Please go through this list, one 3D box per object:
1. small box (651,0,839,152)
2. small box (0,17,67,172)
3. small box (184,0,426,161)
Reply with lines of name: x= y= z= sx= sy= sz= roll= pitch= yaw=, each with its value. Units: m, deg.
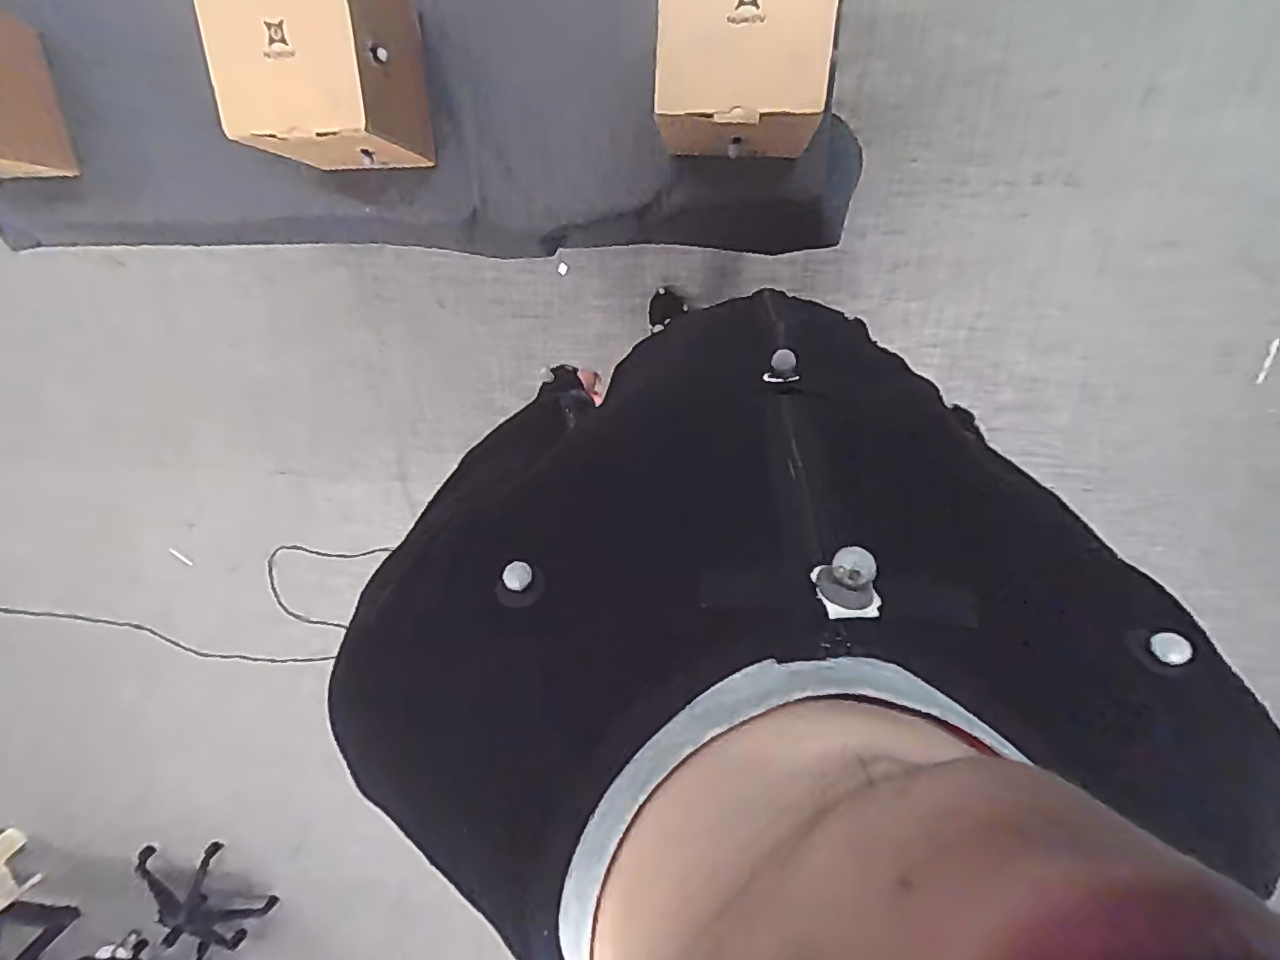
small box: x=0.108 y=-0.455 z=0.559 sx=0.168 sy=0.176 sz=0.179 roll=6 pitch=110 yaw=7
small box: x=-0.882 y=-0.492 z=0.659 sx=0.168 sy=0.176 sz=0.179 roll=2 pitch=110 yaw=5
small box: x=-0.362 y=-0.474 z=0.612 sx=0.168 sy=0.176 sz=0.179 roll=1 pitch=108 yaw=5
